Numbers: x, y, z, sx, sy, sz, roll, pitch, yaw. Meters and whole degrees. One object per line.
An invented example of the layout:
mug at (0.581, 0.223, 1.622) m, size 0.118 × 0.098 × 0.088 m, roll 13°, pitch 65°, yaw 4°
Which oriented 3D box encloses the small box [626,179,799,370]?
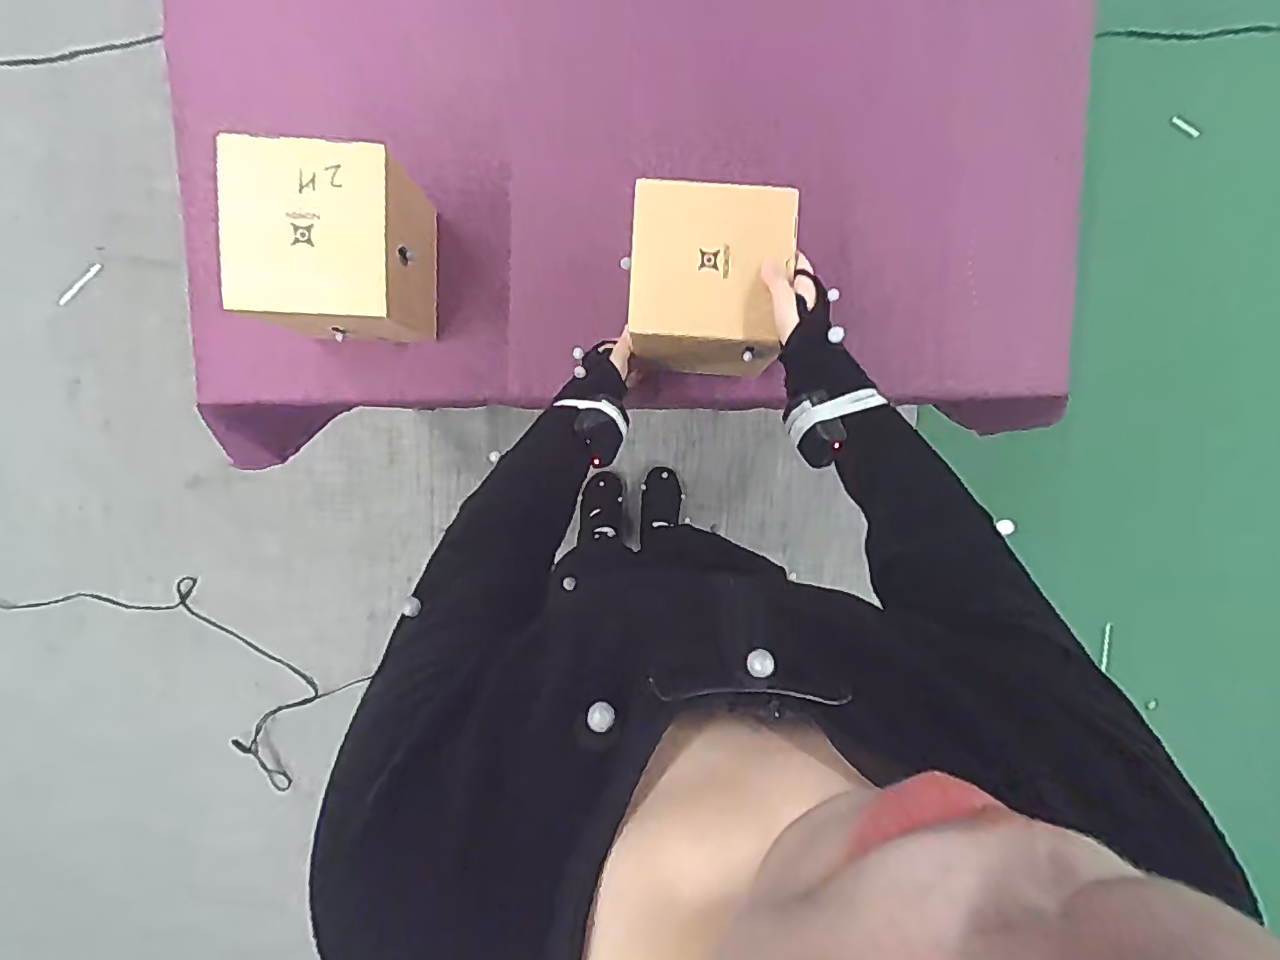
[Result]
small box at (0.077, -0.231, 0.646) m, size 0.179 × 0.176 × 0.168 m, roll 3°, pitch 91°, yaw 0°

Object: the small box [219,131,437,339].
small box at (-0.344, -0.265, 0.629) m, size 0.168 × 0.176 × 0.179 m, roll 2°, pitch 95°, yaw -4°
